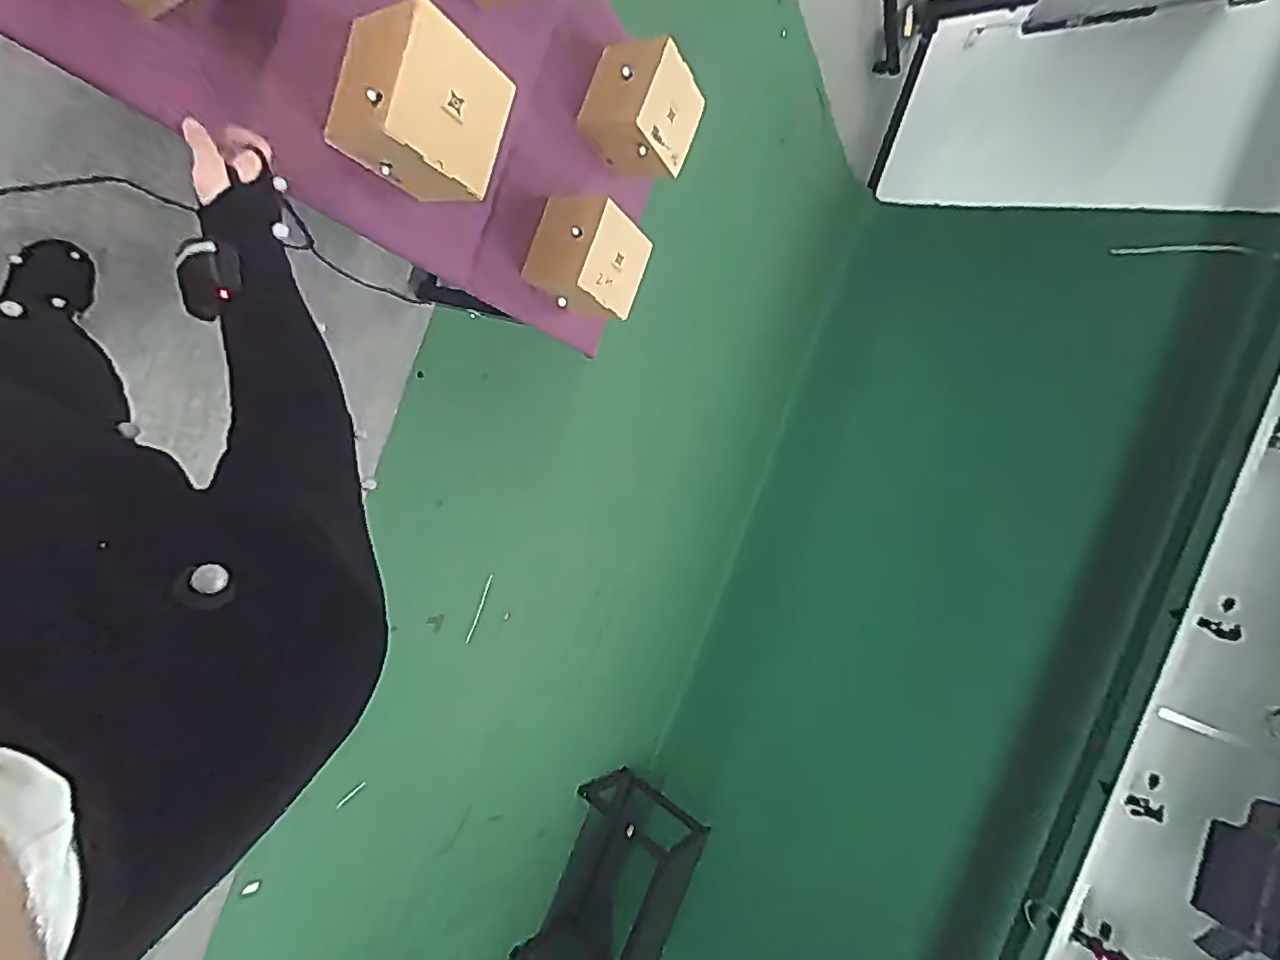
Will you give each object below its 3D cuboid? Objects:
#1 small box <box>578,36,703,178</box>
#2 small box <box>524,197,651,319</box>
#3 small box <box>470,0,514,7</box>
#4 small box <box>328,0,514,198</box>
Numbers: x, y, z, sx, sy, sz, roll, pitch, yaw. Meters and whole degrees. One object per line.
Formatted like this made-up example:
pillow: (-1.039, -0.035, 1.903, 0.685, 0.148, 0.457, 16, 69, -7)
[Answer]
small box: (-0.001, -0.756, 1.115, 0.168, 0.176, 0.179, 21, 90, -56)
small box: (-0.110, -0.457, 1.117, 0.168, 0.176, 0.179, 20, 91, -55)
small box: (-0.212, -0.838, 0.771, 0.168, 0.176, 0.179, 15, 96, -56)
small box: (-0.318, -0.539, 0.784, 0.168, 0.176, 0.179, 12, 97, -57)
